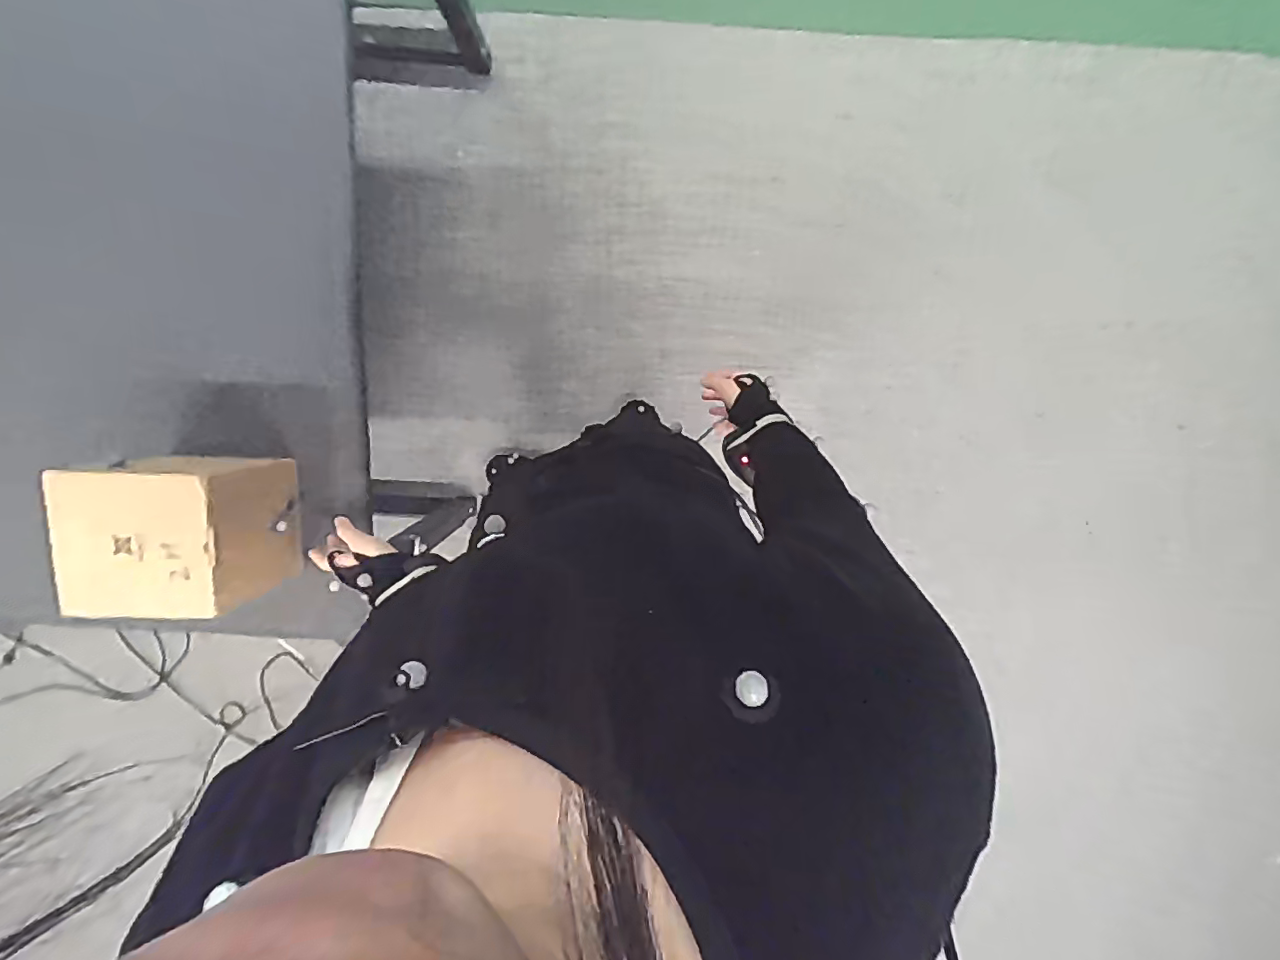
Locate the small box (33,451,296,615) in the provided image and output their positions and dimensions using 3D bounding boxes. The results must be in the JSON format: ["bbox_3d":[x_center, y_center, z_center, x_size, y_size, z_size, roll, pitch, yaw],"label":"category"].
[{"bbox_3d":[-0.566,0.056,0.670,0.179,0.176,0.168,1,99,-2],"label":"small box"}]
